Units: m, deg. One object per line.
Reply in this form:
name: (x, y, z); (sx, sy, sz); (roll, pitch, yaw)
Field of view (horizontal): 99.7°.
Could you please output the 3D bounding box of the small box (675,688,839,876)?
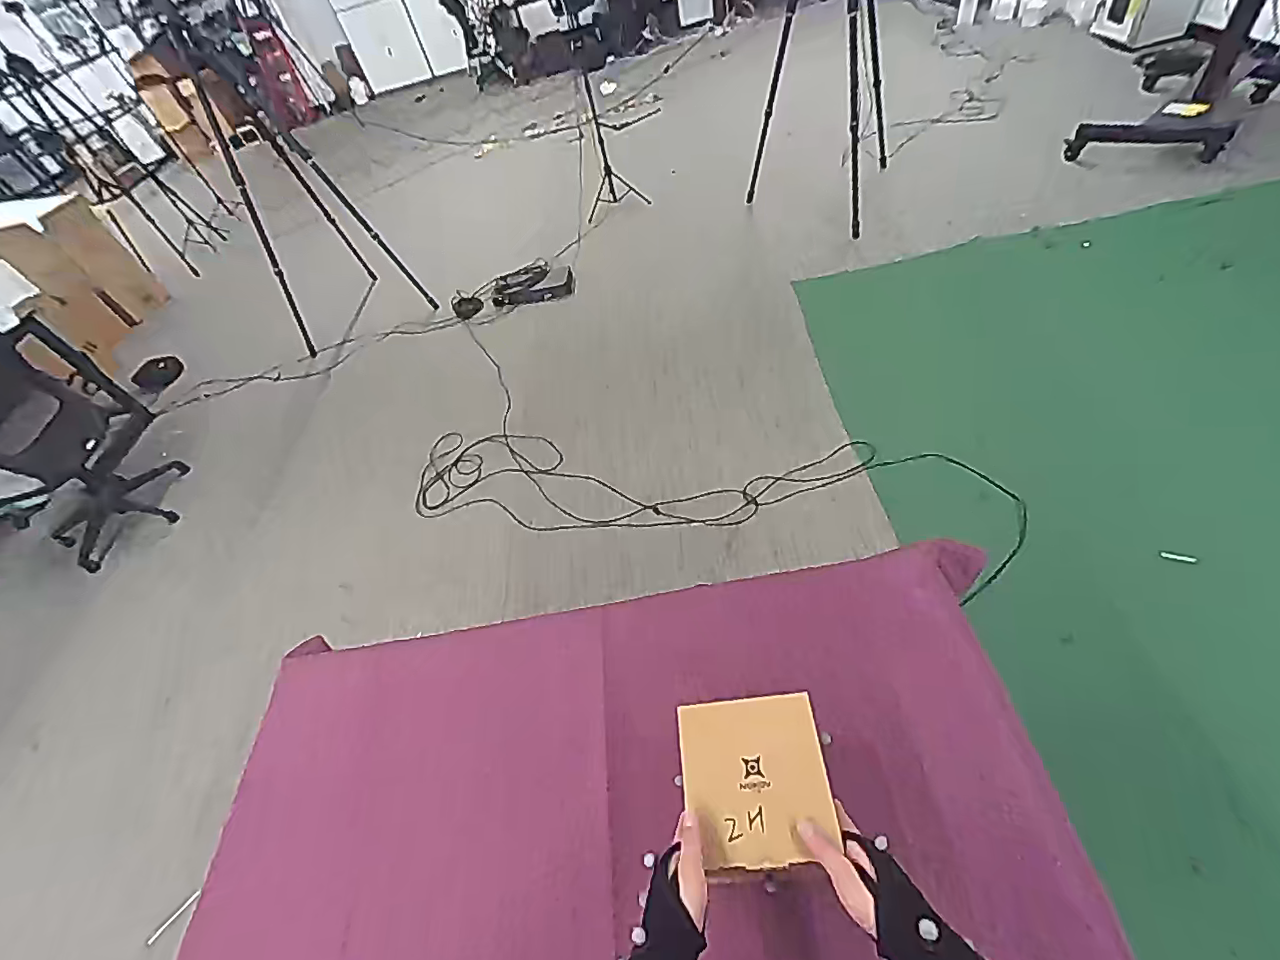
small box: (0.142, 0.385, 0.686); (0.168, 0.176, 0.179); (-10, 50, 9)
